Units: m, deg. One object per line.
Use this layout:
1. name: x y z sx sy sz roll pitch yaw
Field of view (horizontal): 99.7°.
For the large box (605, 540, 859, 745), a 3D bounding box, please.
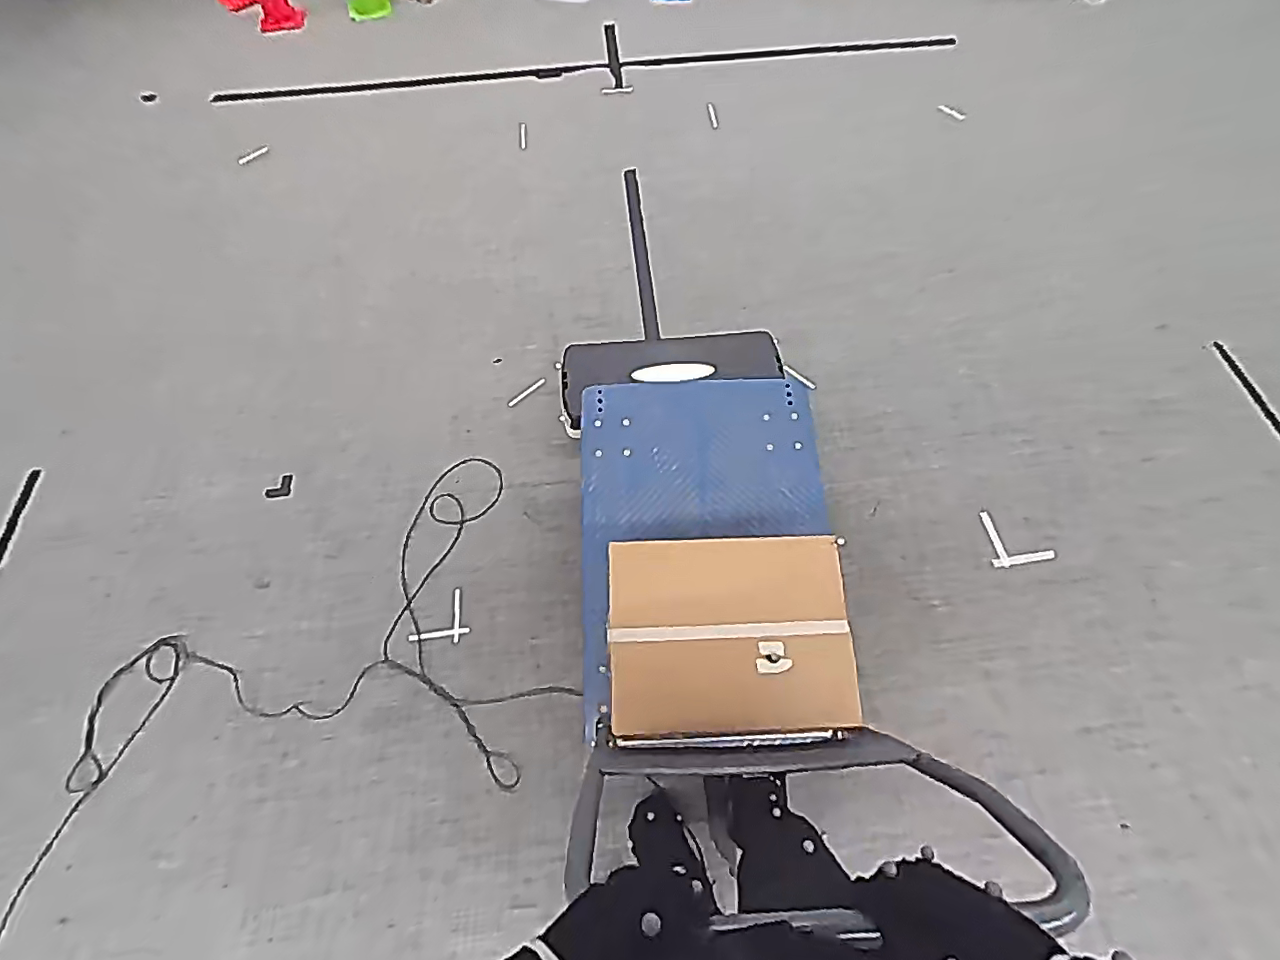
1. large box: 0.143 0.307 1.045 0.408 0.320 0.320 -2 73 -2
